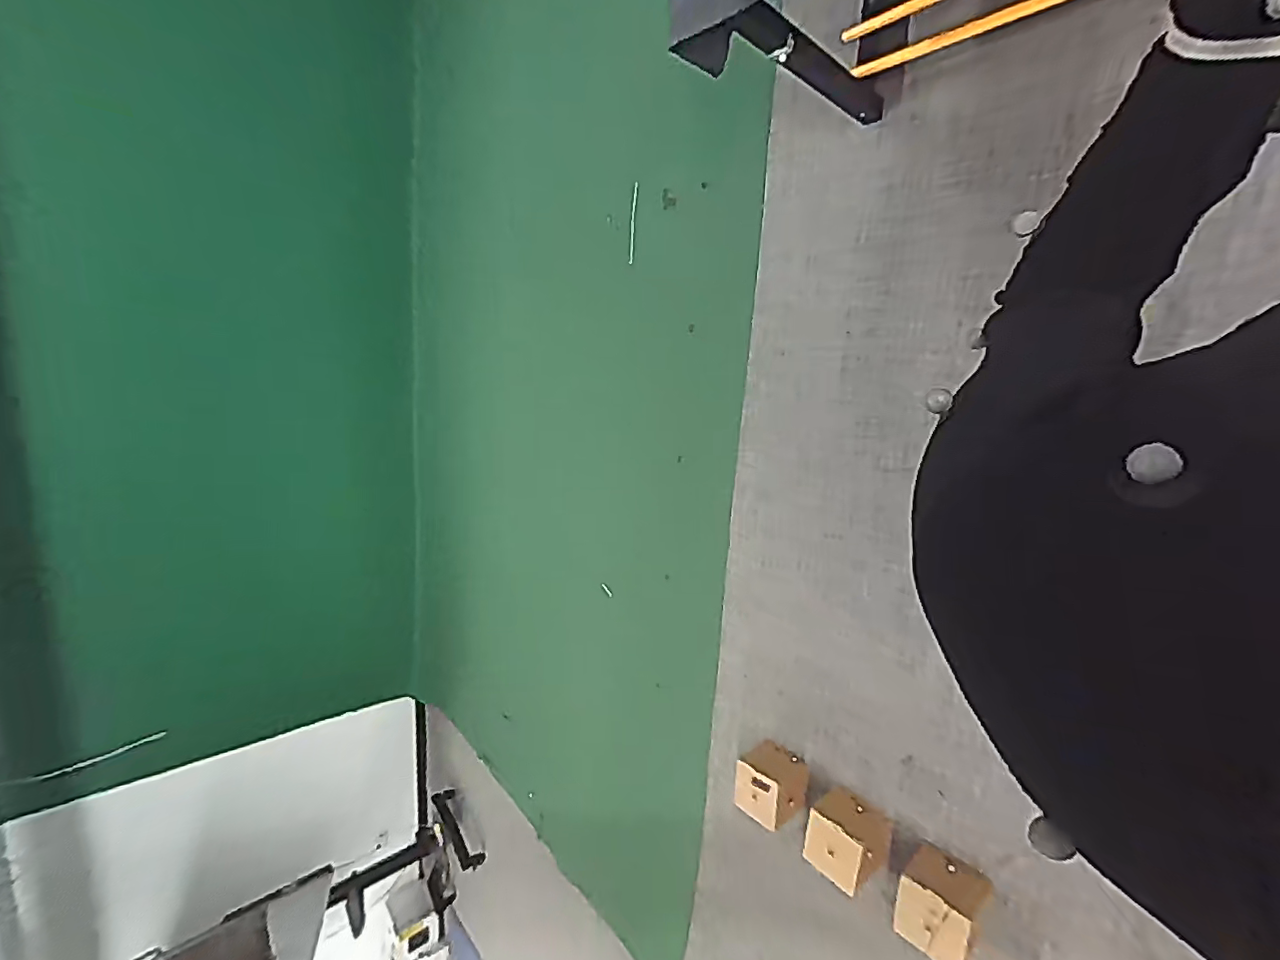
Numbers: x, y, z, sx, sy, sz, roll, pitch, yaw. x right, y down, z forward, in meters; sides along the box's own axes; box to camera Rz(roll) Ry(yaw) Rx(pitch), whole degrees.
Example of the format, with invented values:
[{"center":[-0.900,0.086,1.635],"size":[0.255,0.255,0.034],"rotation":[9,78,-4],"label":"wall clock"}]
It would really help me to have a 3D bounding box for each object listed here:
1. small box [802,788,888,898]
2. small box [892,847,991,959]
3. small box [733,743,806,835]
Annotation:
[{"center":[0.607,1.062,1.596],"size":[0.168,0.176,0.179],"rotation":[18,106,47],"label":"small box"},{"center":[0.780,1.110,1.396],"size":[0.168,0.176,0.179],"rotation":[14,104,46],"label":"small box"},{"center":[0.432,1.013,1.794],"size":[0.168,0.176,0.179],"rotation":[13,104,48],"label":"small box"}]
